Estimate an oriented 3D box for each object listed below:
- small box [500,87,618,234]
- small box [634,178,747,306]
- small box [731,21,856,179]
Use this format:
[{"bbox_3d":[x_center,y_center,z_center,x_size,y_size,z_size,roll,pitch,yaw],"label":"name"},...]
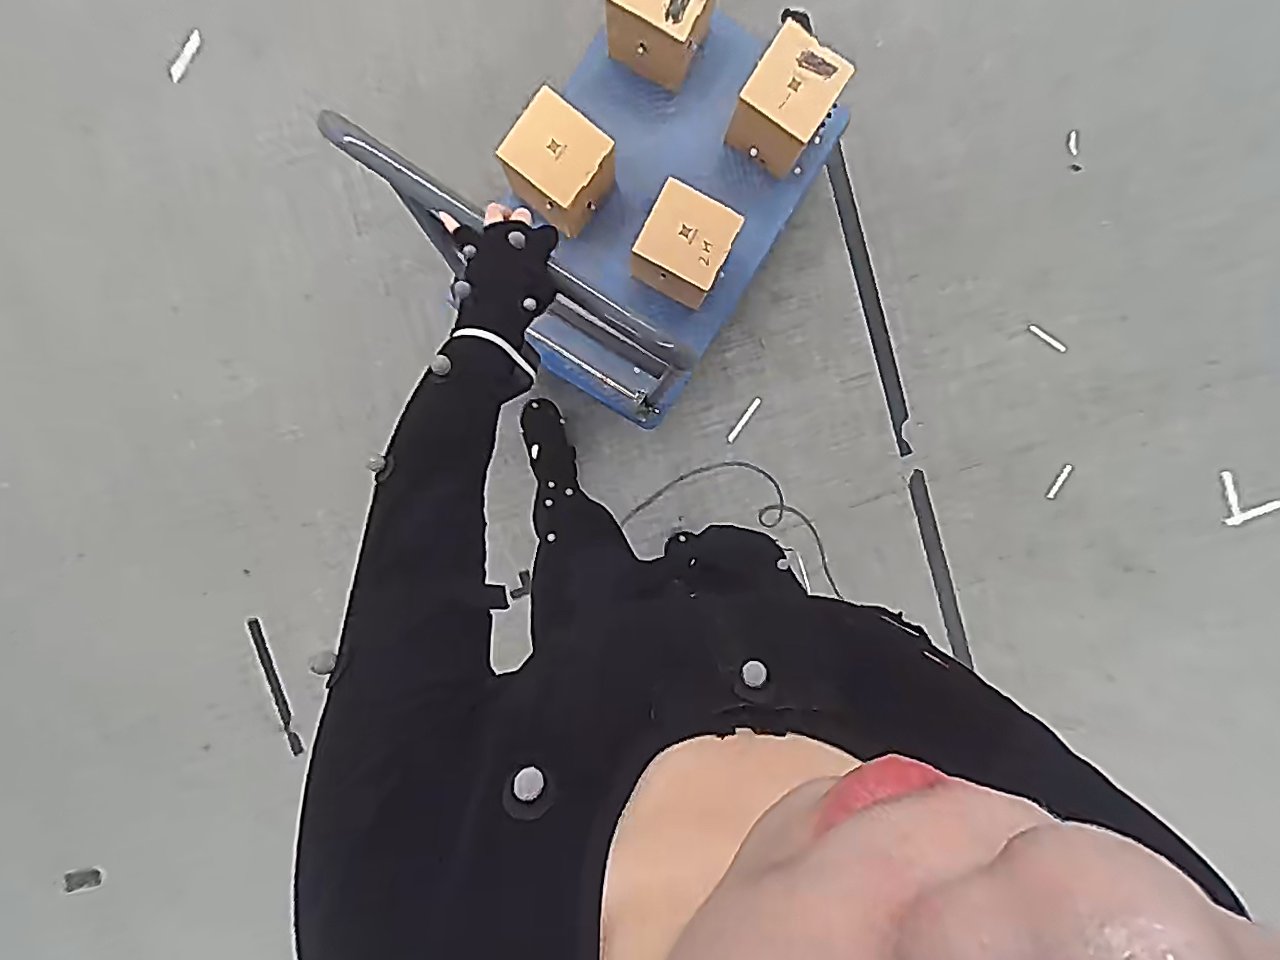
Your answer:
[{"bbox_3d":[-0.163,-0.655,1.137,0.179,0.176,0.168,37,93,-6],"label":"small box"},{"bbox_3d":[0.098,-0.495,1.158,0.179,0.176,0.168,28,93,-4],"label":"small box"},{"bbox_3d":[0.311,-0.787,1.141,0.168,0.176,0.179,33,94,-4],"label":"small box"}]
